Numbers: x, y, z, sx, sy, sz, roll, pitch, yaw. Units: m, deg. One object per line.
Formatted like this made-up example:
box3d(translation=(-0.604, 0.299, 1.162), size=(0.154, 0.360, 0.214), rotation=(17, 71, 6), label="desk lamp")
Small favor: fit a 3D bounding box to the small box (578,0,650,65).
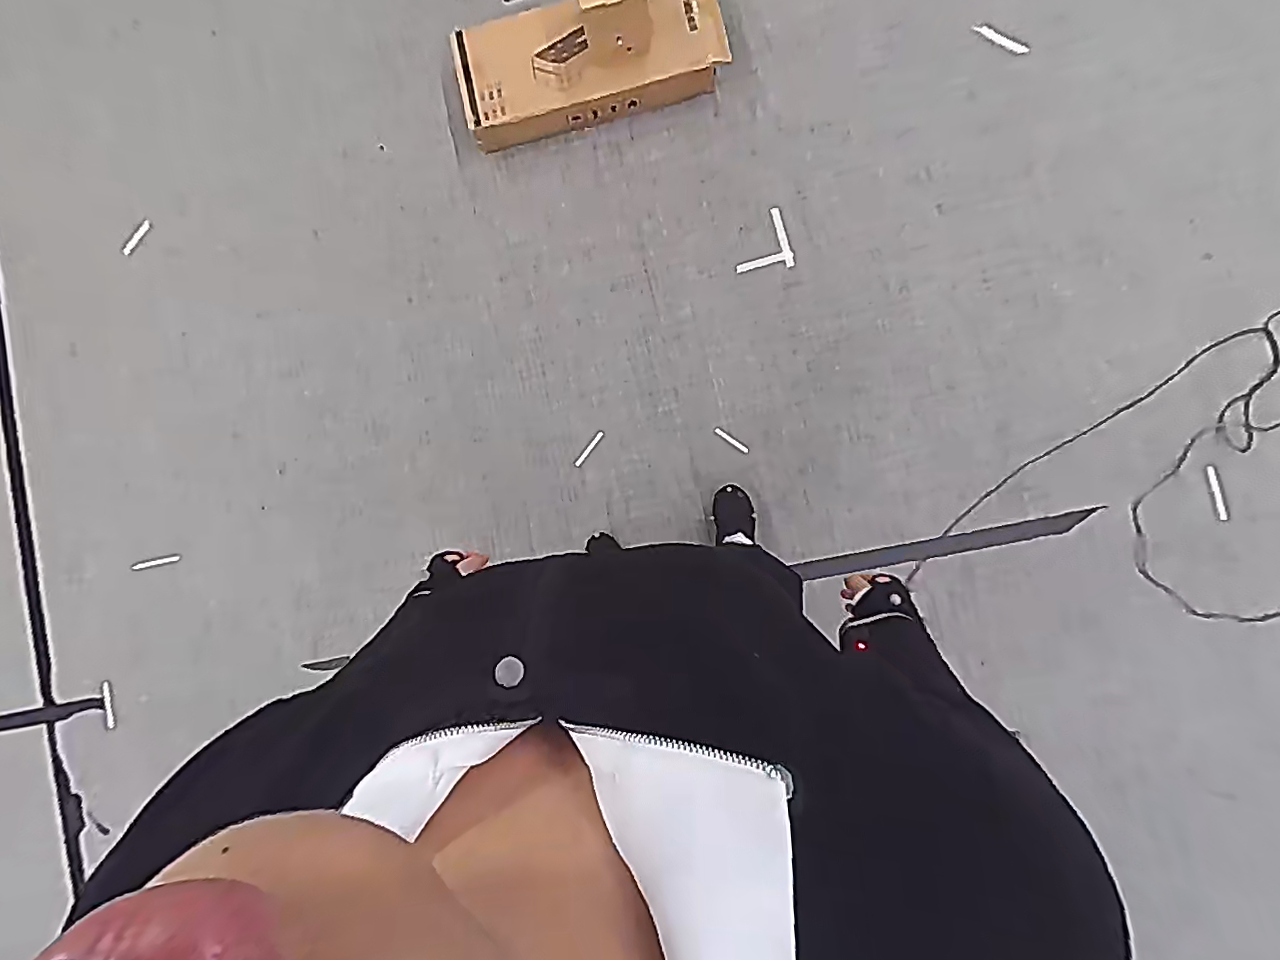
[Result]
box3d(translation=(-0.074, -1.230, 1.389), size=(0.168, 0.176, 0.179), rotation=(-13, 85, 5), label="small box")
